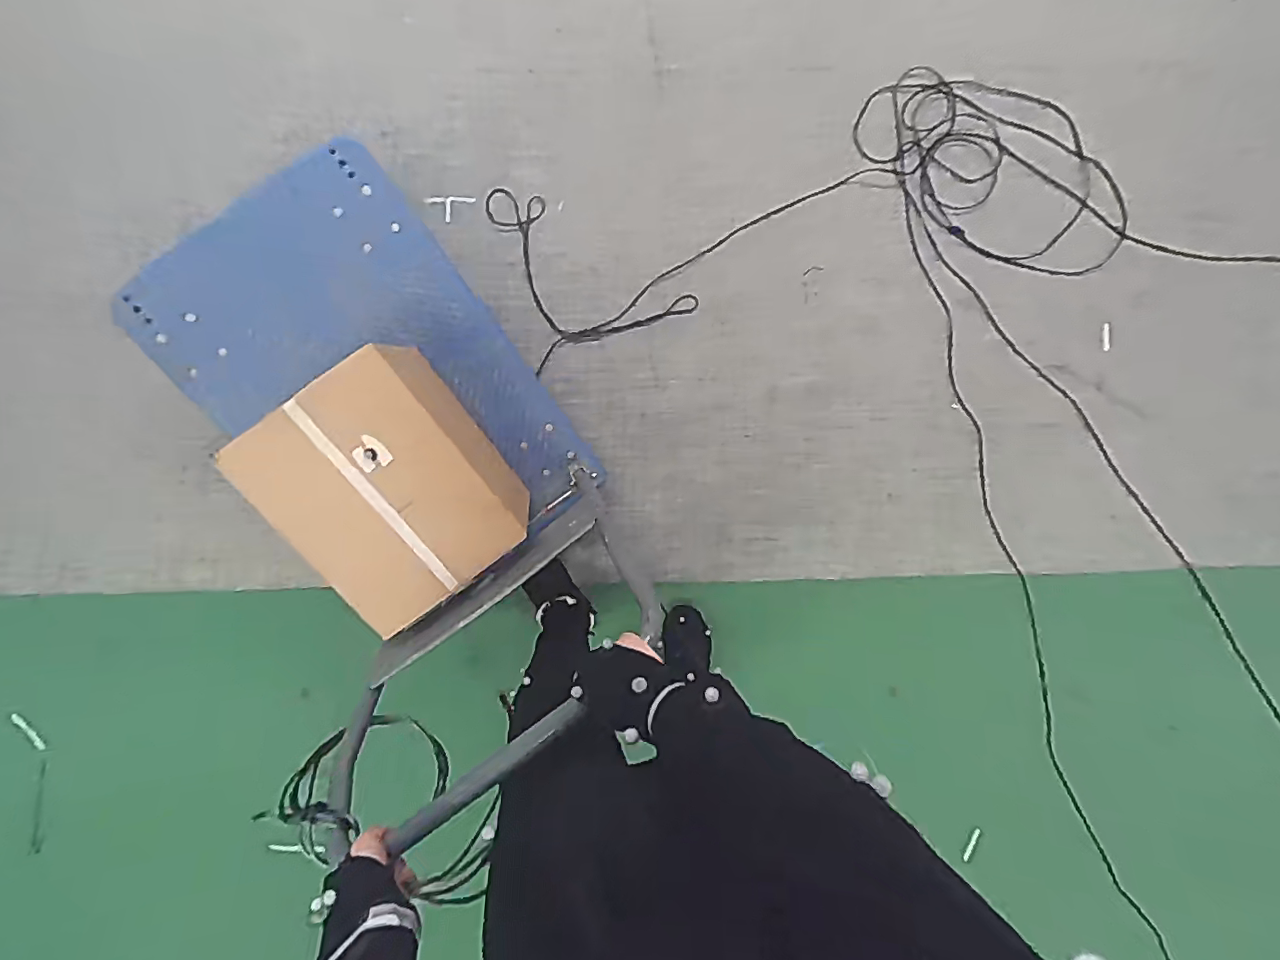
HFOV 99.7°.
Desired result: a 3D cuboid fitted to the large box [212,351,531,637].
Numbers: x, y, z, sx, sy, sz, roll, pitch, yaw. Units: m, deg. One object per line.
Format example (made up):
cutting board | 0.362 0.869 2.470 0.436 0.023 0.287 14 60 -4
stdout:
large box | -0.458 0.008 1.039 0.320 0.320 0.408 -36 105 -1
